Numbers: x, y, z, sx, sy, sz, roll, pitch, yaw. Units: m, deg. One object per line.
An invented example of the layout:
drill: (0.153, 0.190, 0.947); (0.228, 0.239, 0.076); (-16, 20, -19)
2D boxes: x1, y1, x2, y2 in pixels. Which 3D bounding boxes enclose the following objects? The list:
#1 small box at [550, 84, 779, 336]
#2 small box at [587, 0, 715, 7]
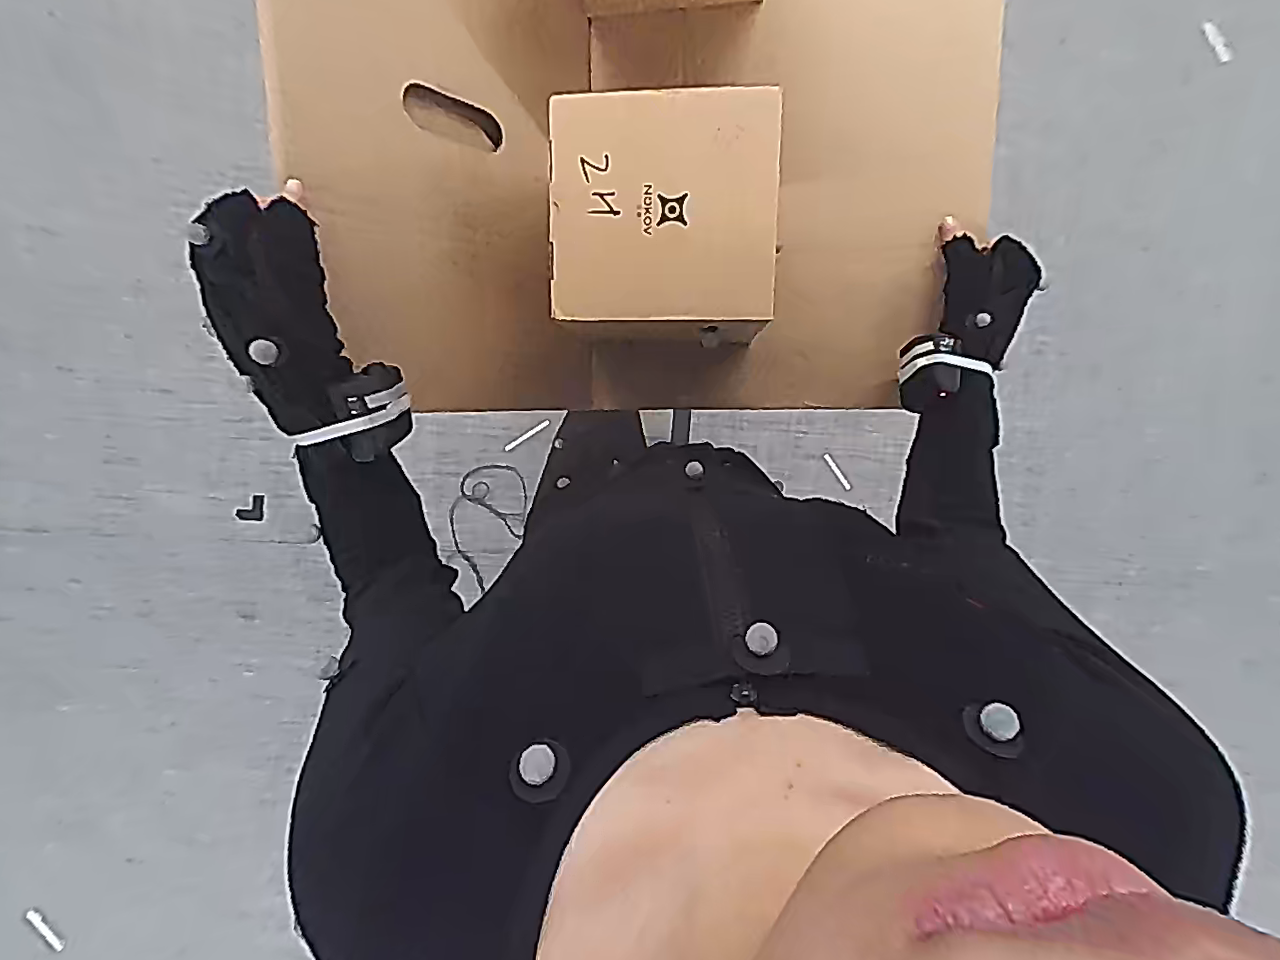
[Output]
small box: (0.023, -0.228, 0.498); (0.179, 0.176, 0.168); (2, 98, 7)
small box: (0.019, -0.544, 0.452); (0.179, 0.176, 0.168); (-1, 98, 5)
